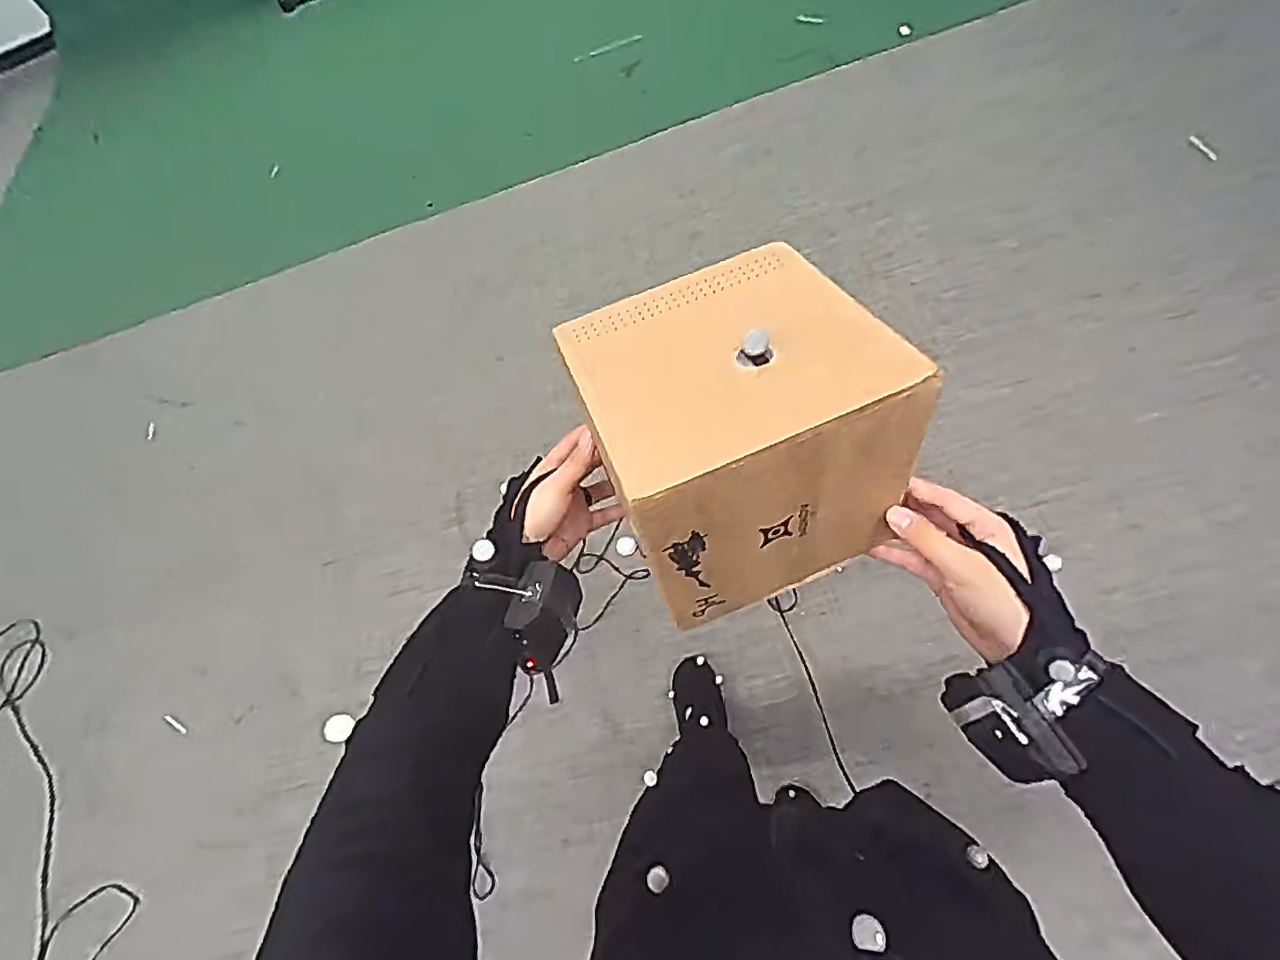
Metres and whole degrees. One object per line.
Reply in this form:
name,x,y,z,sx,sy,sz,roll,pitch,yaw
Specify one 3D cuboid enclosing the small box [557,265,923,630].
small box,0.060,-0.027,0.394,0.179,0.168,0.176,-22,49,-4
